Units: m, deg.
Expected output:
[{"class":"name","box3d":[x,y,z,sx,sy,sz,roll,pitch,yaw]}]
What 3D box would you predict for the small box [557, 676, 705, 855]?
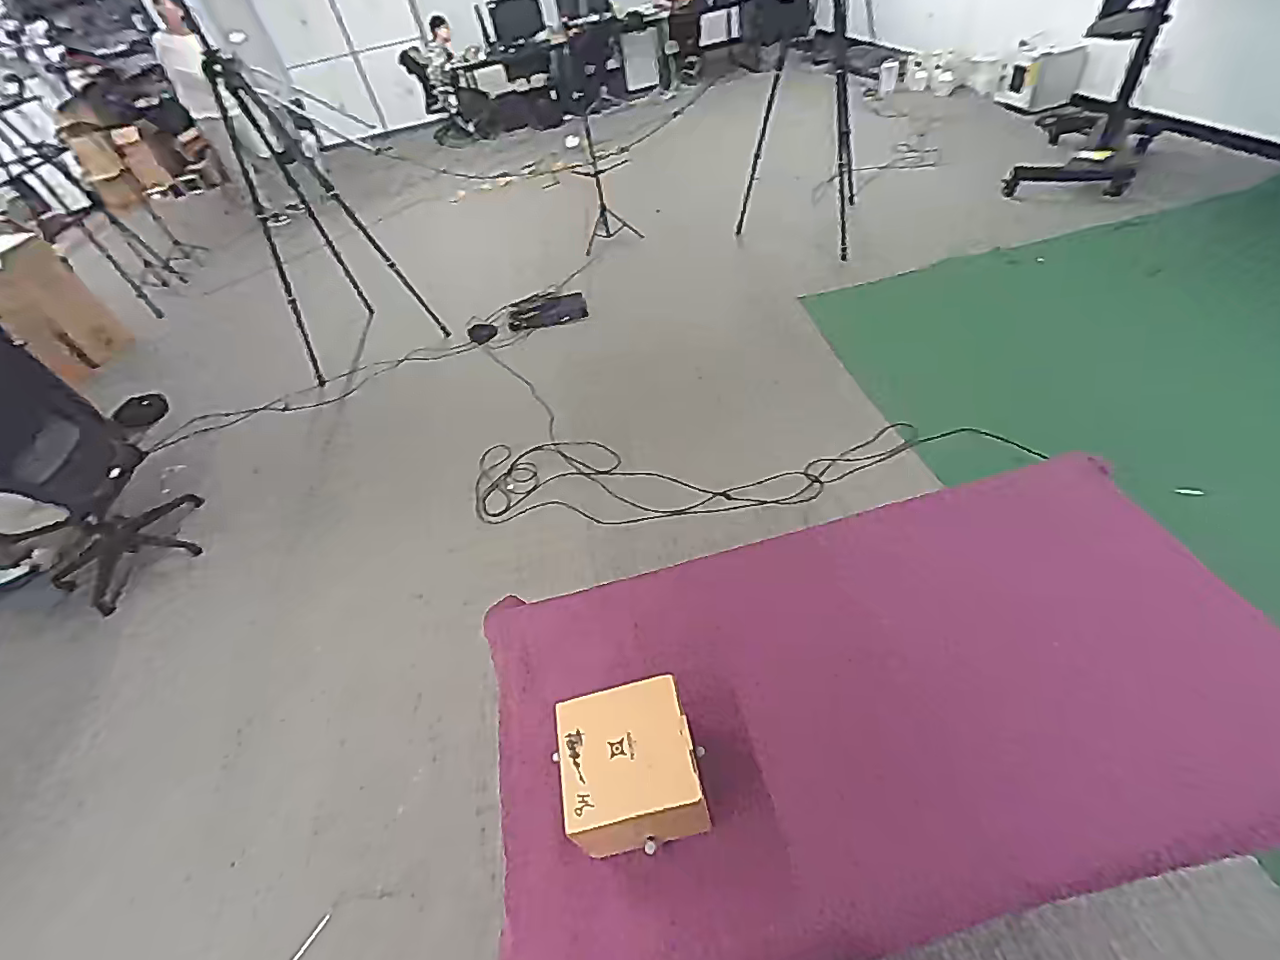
[{"class":"small box","box3d":[-0.009,0.405,0.765,0.179,0.176,0.168,-13,46,-1]}]
